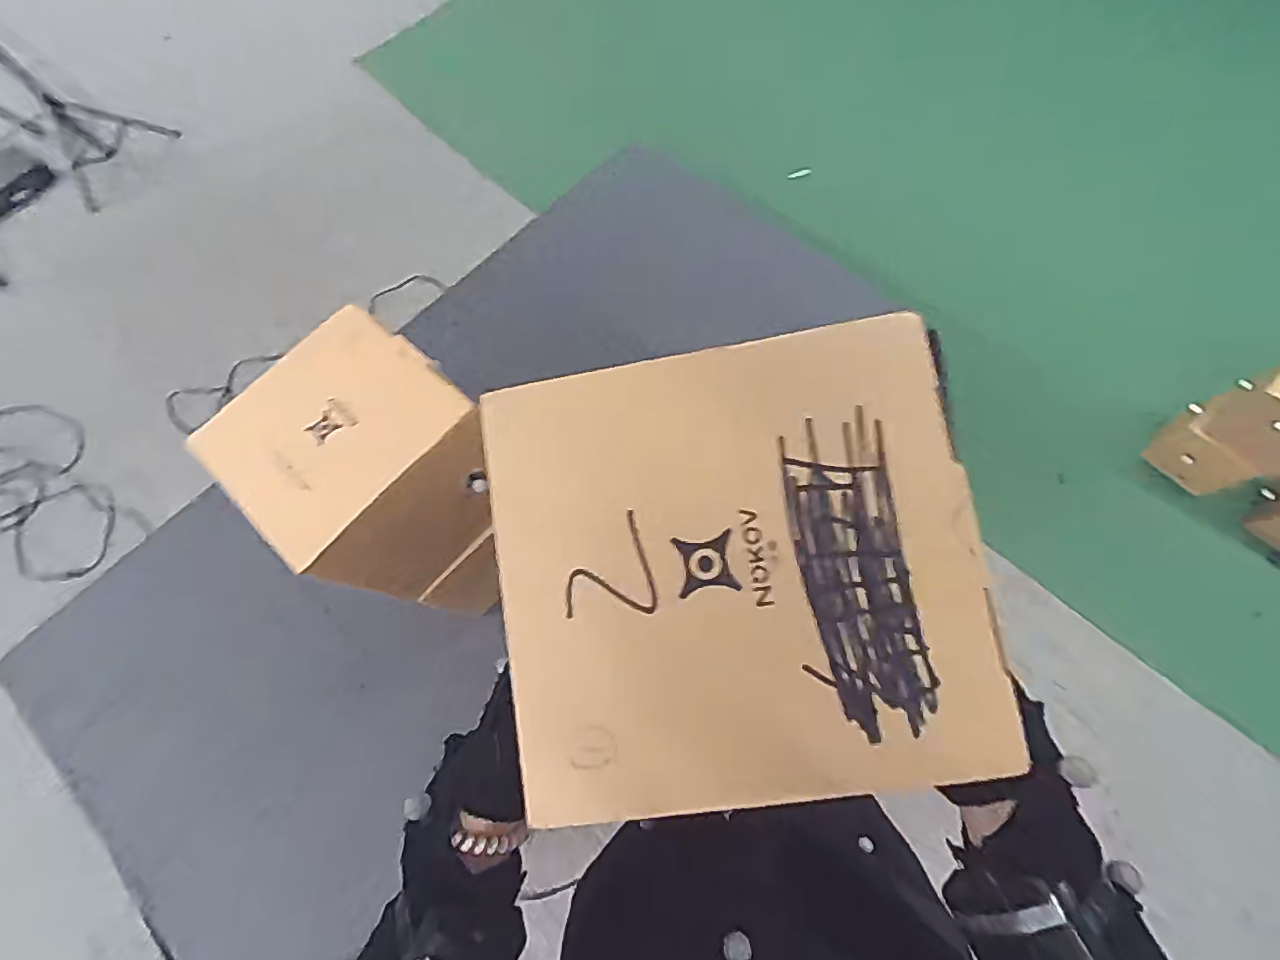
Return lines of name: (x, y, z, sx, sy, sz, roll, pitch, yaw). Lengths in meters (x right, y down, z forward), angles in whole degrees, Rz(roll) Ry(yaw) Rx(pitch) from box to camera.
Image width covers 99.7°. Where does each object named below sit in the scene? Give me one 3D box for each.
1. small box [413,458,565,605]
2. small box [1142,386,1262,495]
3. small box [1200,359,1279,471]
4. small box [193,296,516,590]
small box: (-0.218, 0.031, 0.655, 0.179, 0.176, 0.168, 42, 79, 17)
small box: (1.415, -0.091, 1.340, 0.179, 0.176, 0.168, -40, 71, -10)
small box: (1.416, -0.149, 1.185, 0.168, 0.176, 0.179, -41, 71, -10)
small box: (-0.237, -0.024, 0.502, 0.168, 0.176, 0.179, 40, 78, 18)
